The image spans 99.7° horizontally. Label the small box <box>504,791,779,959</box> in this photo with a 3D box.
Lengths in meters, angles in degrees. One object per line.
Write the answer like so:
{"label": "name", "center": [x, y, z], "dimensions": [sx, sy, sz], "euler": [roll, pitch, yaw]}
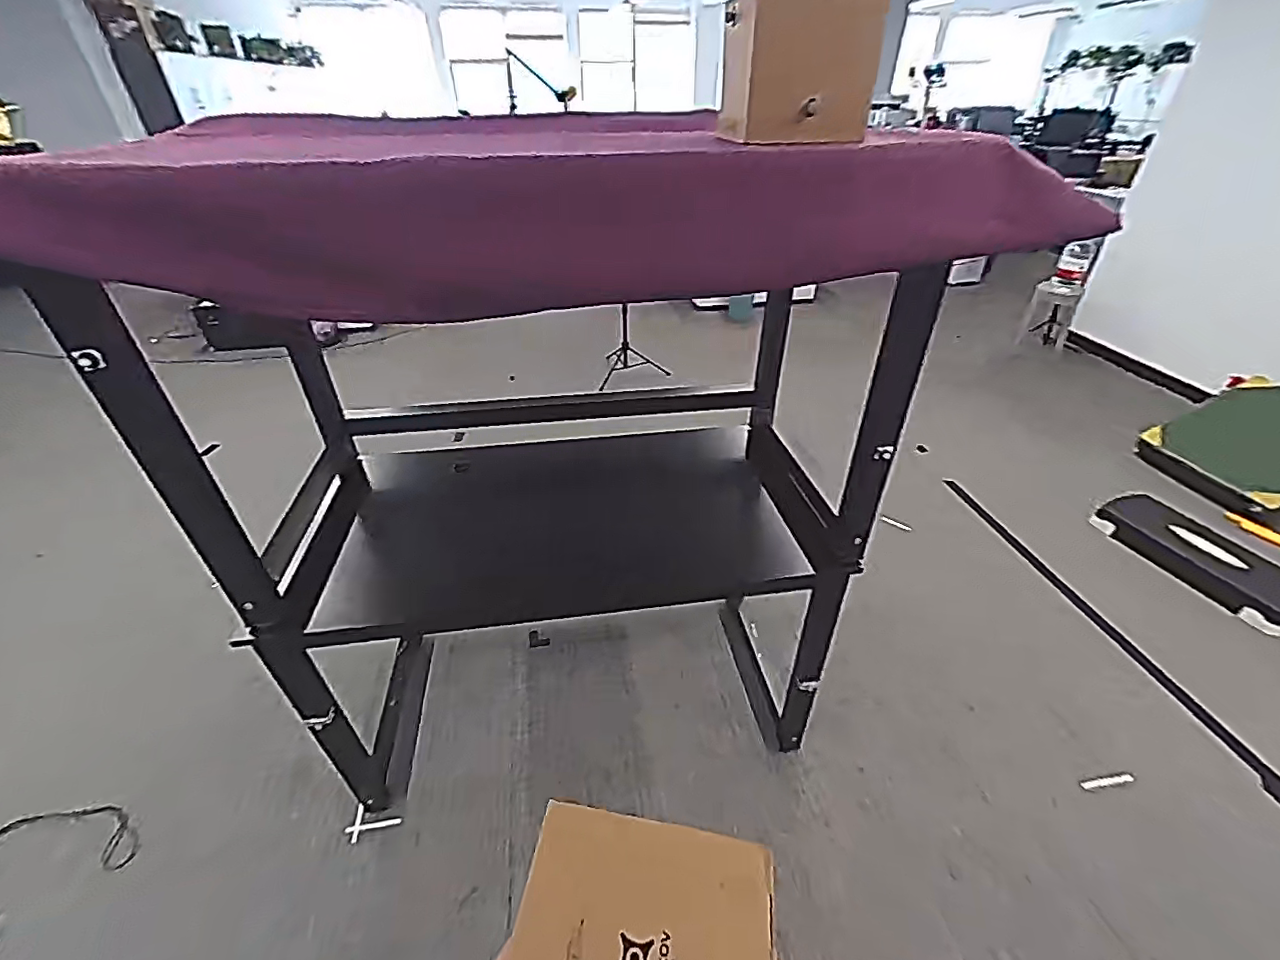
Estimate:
{"label": "small box", "center": [-0.001, 0.366, 0.399], "dimensions": [0.179, 0.176, 0.168], "euler": [7, 38, 7]}

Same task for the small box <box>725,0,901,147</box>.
{"label": "small box", "center": [0.227, -0.575, 0.761], "dimensions": [0.179, 0.176, 0.168], "euler": [-4, 34, -5]}
